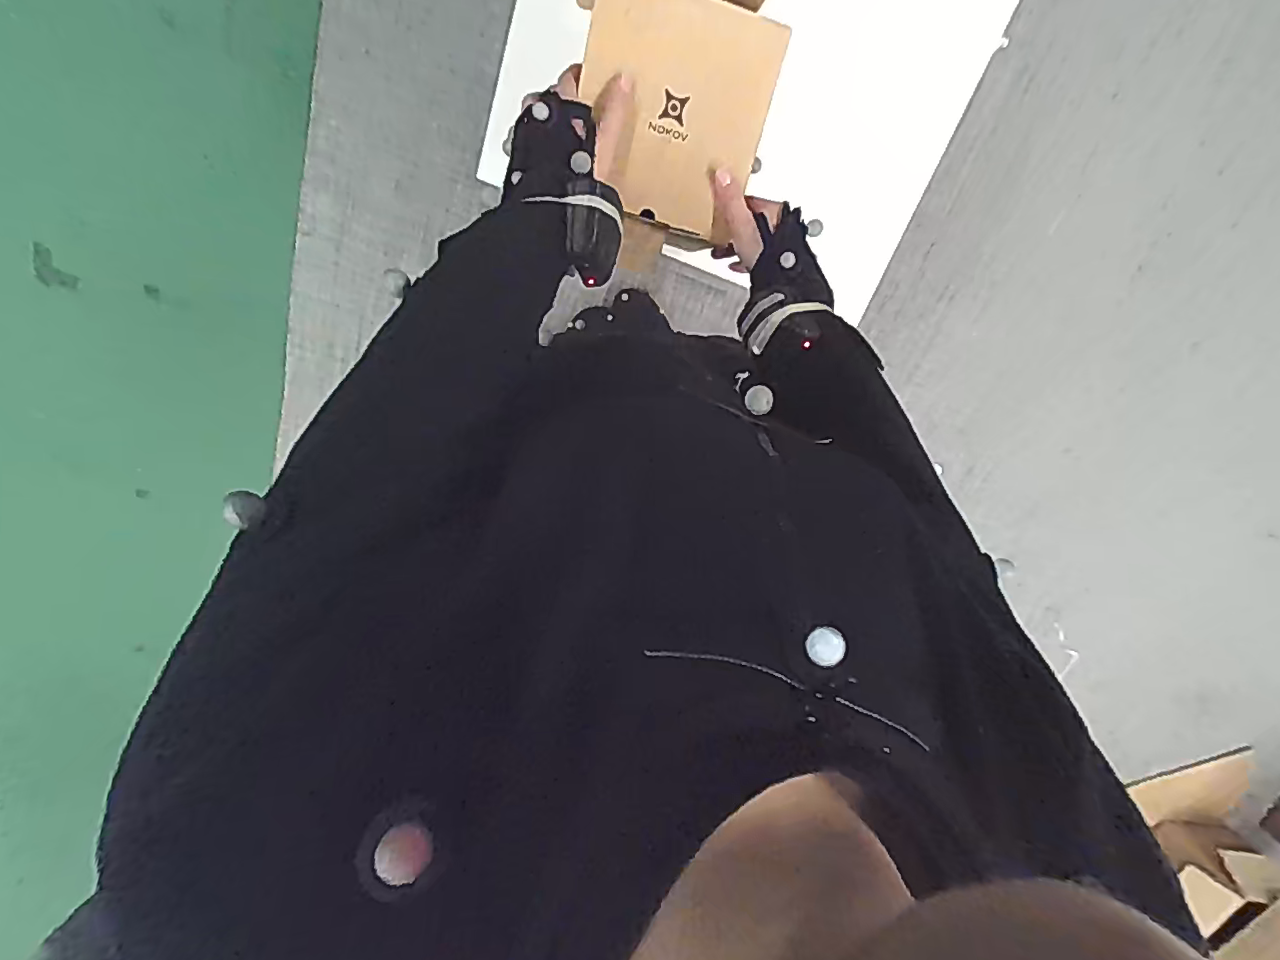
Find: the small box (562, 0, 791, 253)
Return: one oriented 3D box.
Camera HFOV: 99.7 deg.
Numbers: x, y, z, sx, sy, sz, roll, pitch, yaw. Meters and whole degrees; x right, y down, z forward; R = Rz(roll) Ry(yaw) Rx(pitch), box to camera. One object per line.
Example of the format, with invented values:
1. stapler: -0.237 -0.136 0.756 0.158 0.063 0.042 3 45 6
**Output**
1. small box: 0.018 -0.340 0.539 0.168 0.176 0.179 12 110 -13
